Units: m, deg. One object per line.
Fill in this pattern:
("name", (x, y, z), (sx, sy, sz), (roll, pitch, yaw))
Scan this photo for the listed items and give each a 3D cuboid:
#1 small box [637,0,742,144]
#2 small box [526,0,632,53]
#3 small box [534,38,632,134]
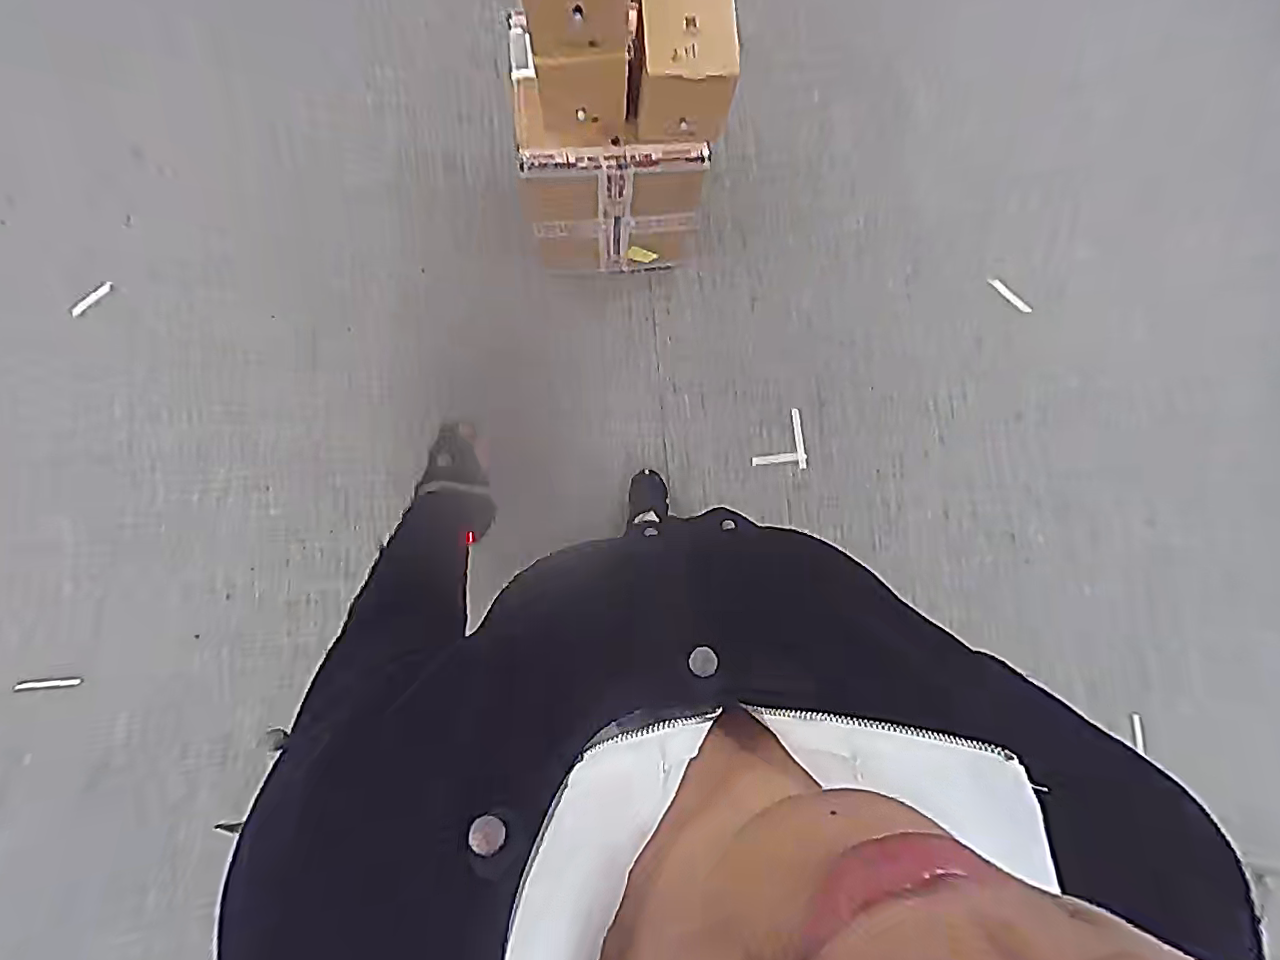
("small box", (0.085, -0.771, 1.016), (0.168, 0.176, 0.179), (-4, 87, -5))
("small box", (-0.098, -0.808, 0.842), (0.168, 0.176, 0.179), (-4, 89, -3))
("small box", (-0.108, -0.787, 1.005), (0.168, 0.176, 0.179), (-6, 89, -2))
